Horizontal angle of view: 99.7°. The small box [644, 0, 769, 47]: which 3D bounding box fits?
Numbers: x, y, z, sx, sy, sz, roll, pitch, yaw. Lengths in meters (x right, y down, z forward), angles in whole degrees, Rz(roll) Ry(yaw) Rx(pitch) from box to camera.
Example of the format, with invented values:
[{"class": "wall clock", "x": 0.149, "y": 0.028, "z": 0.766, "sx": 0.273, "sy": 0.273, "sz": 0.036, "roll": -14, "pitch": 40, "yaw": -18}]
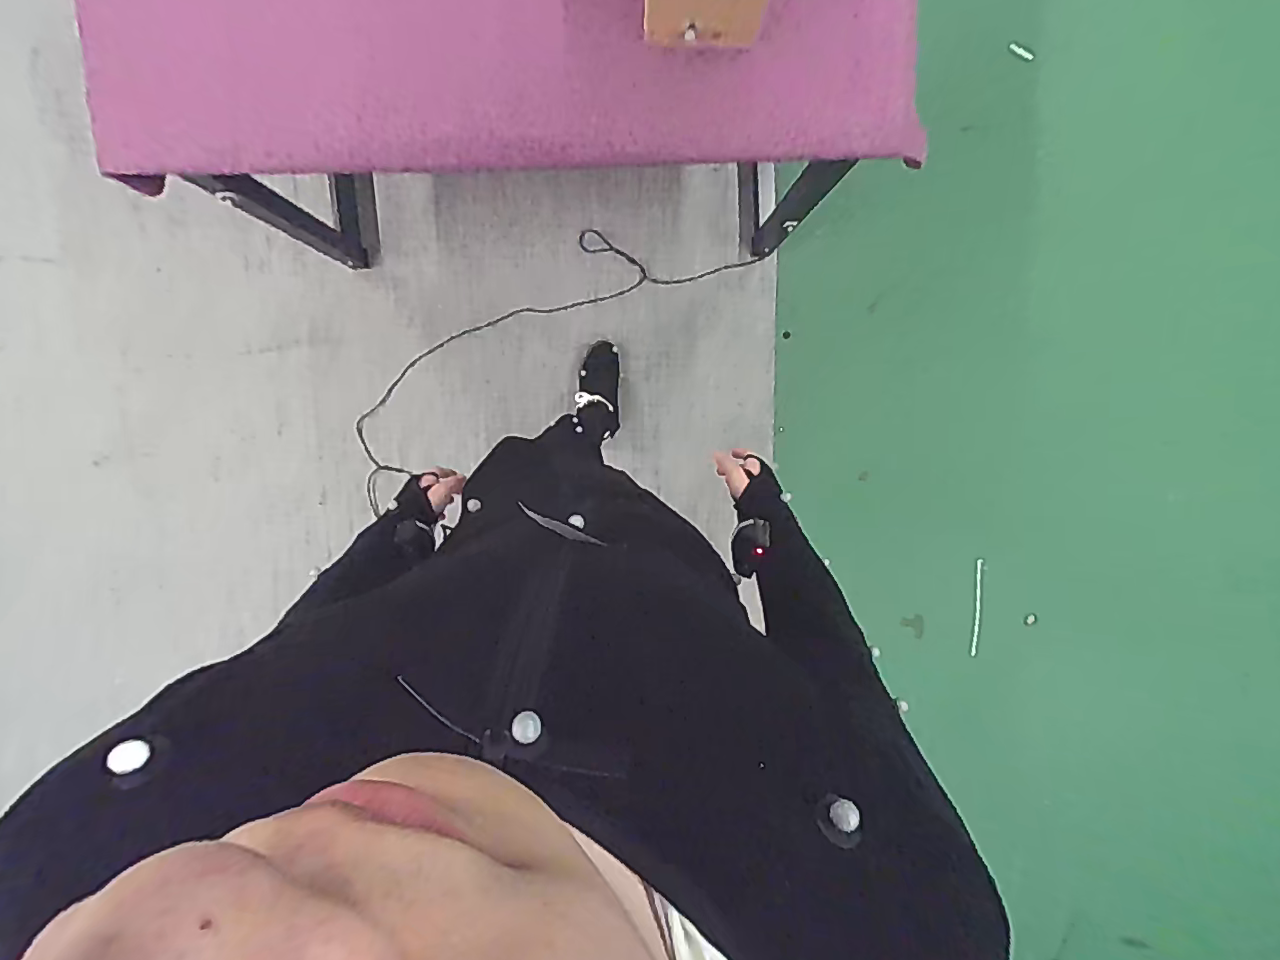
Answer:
[{"class": "small box", "x": 0.090, "y": -0.717, "z": 0.704, "sx": 0.168, "sy": 0.176, "sz": 0.179, "roll": 0, "pitch": 96, "yaw": 0}]
